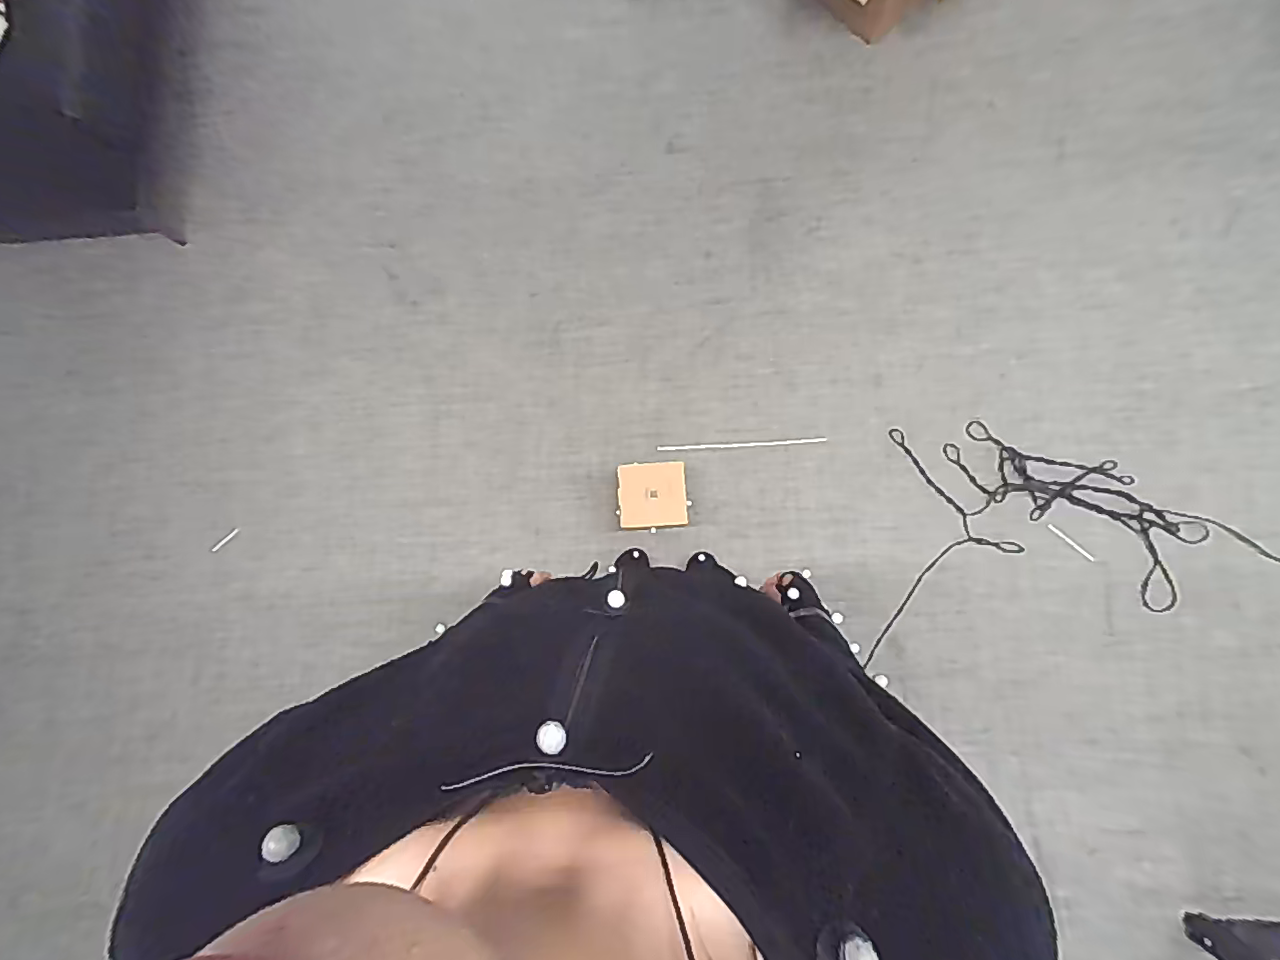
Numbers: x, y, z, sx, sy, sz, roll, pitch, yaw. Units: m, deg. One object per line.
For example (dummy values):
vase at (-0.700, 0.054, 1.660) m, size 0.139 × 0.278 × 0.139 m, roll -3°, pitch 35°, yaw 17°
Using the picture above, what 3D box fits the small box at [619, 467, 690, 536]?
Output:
small box at (0.042, 0.063, 1.456) m, size 0.179 × 0.176 × 0.168 m, roll -3°, pitch 82°, yaw 4°
